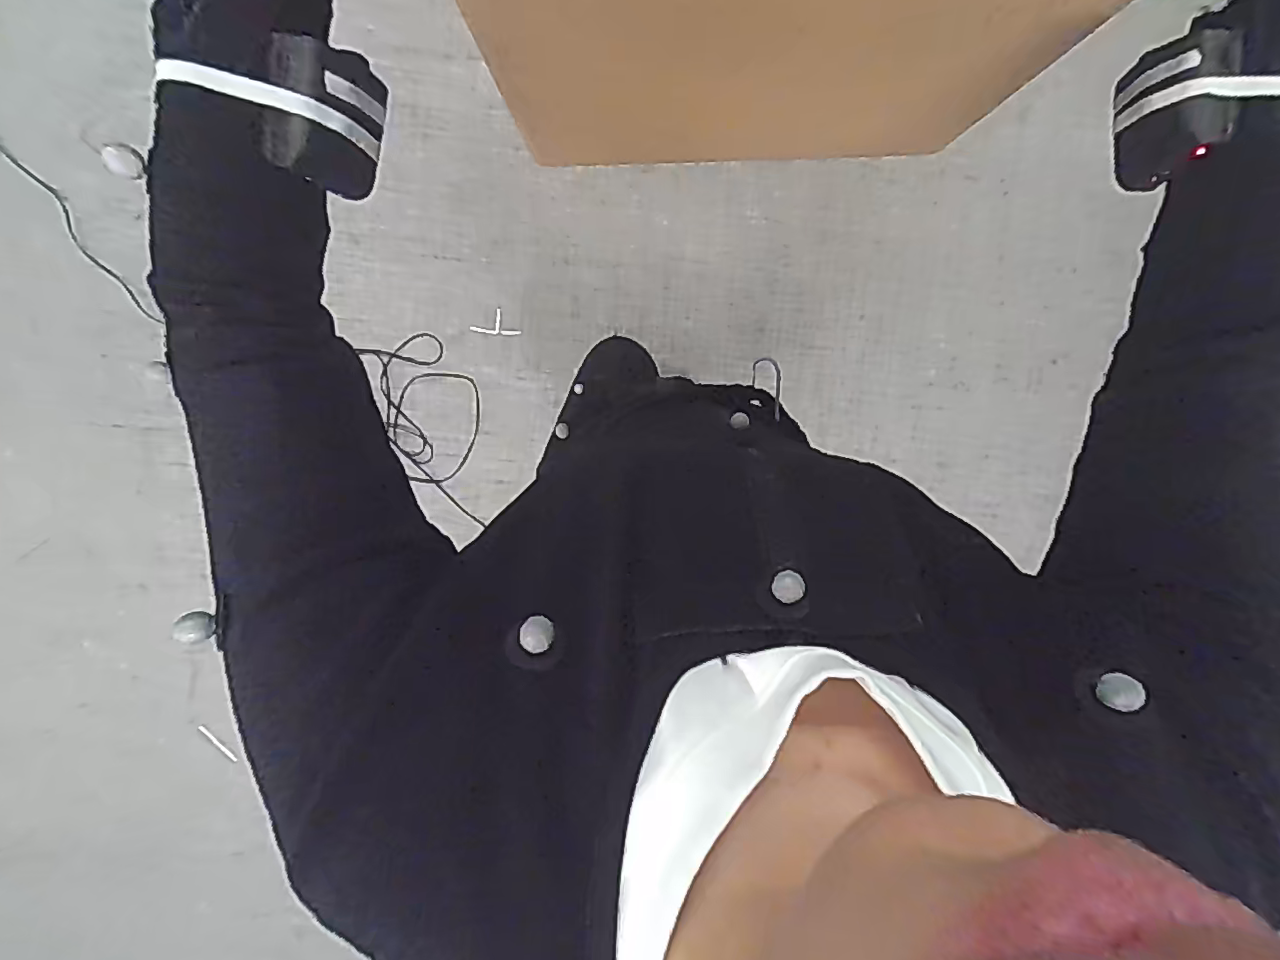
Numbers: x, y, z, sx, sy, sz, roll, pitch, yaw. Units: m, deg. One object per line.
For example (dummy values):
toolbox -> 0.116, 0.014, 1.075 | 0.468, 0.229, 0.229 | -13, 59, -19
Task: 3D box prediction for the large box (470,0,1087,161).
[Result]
large box -> 0.085, -0.451, 0.366 | 0.408, 0.320, 0.320 | -3, 101, 0
